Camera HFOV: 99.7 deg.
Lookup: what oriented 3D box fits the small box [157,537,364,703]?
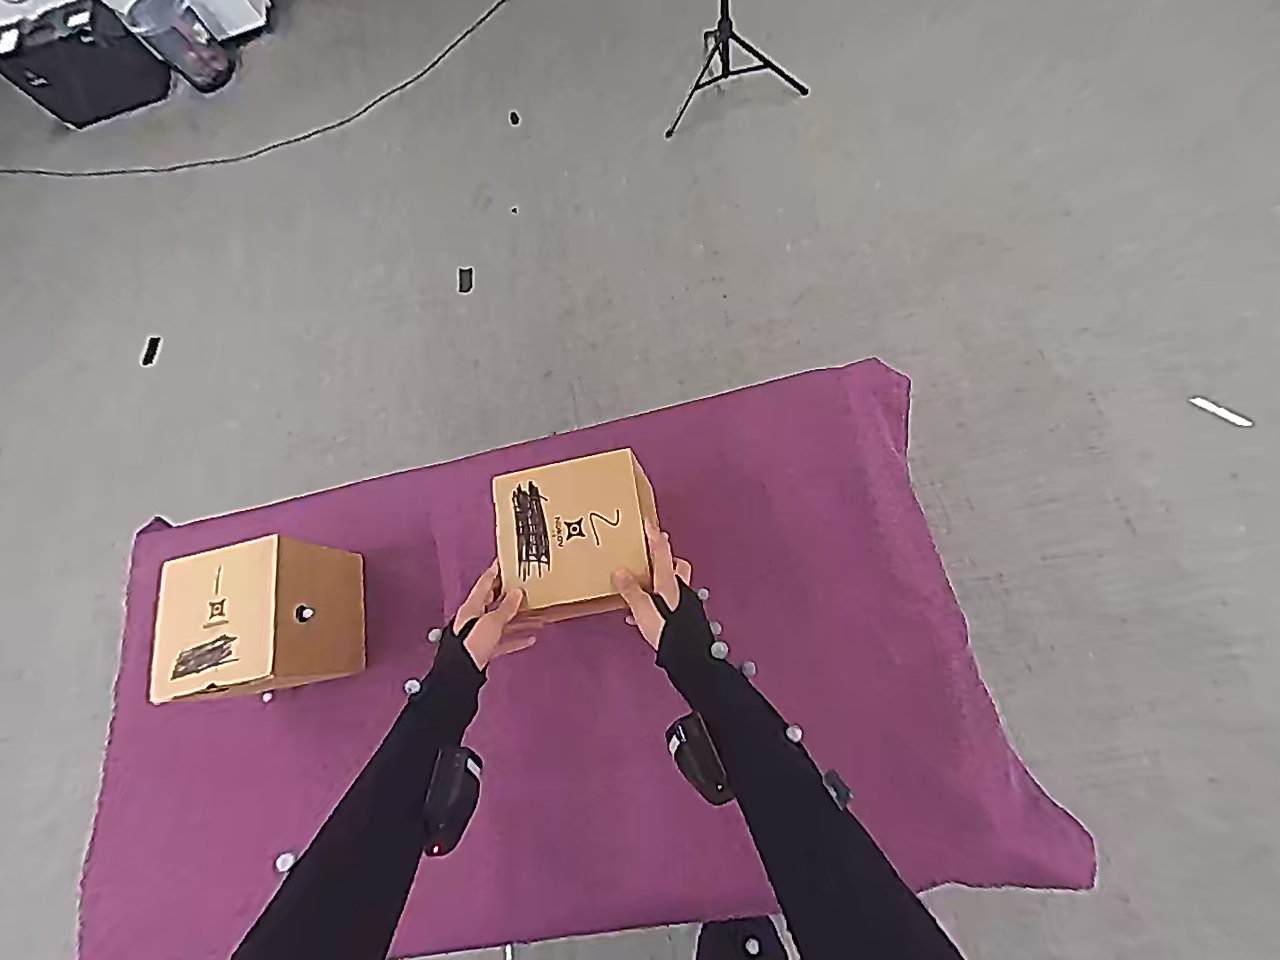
[{"bbox_3d":[-0.504,0.193,0.743,0.168,0.176,0.179,-14,71,6],"label":"small box"}]
